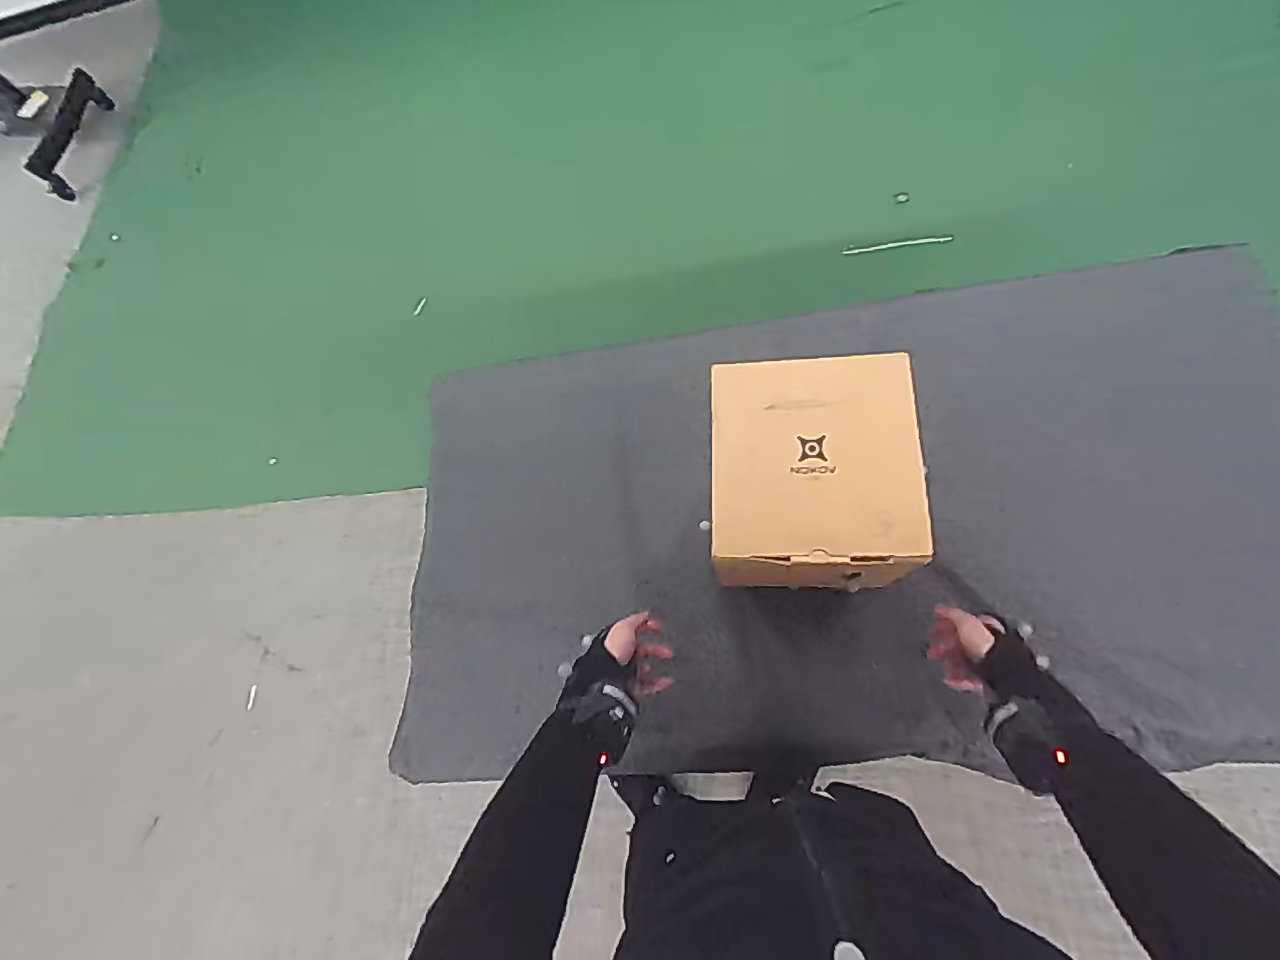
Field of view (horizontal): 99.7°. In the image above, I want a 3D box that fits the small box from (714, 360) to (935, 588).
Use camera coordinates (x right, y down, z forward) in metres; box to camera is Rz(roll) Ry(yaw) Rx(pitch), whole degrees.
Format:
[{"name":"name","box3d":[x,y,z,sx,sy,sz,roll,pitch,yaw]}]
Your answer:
[{"name":"small box","box3d":[0.159,0.008,0.517,0.168,0.176,0.179,-2,71,10]}]
